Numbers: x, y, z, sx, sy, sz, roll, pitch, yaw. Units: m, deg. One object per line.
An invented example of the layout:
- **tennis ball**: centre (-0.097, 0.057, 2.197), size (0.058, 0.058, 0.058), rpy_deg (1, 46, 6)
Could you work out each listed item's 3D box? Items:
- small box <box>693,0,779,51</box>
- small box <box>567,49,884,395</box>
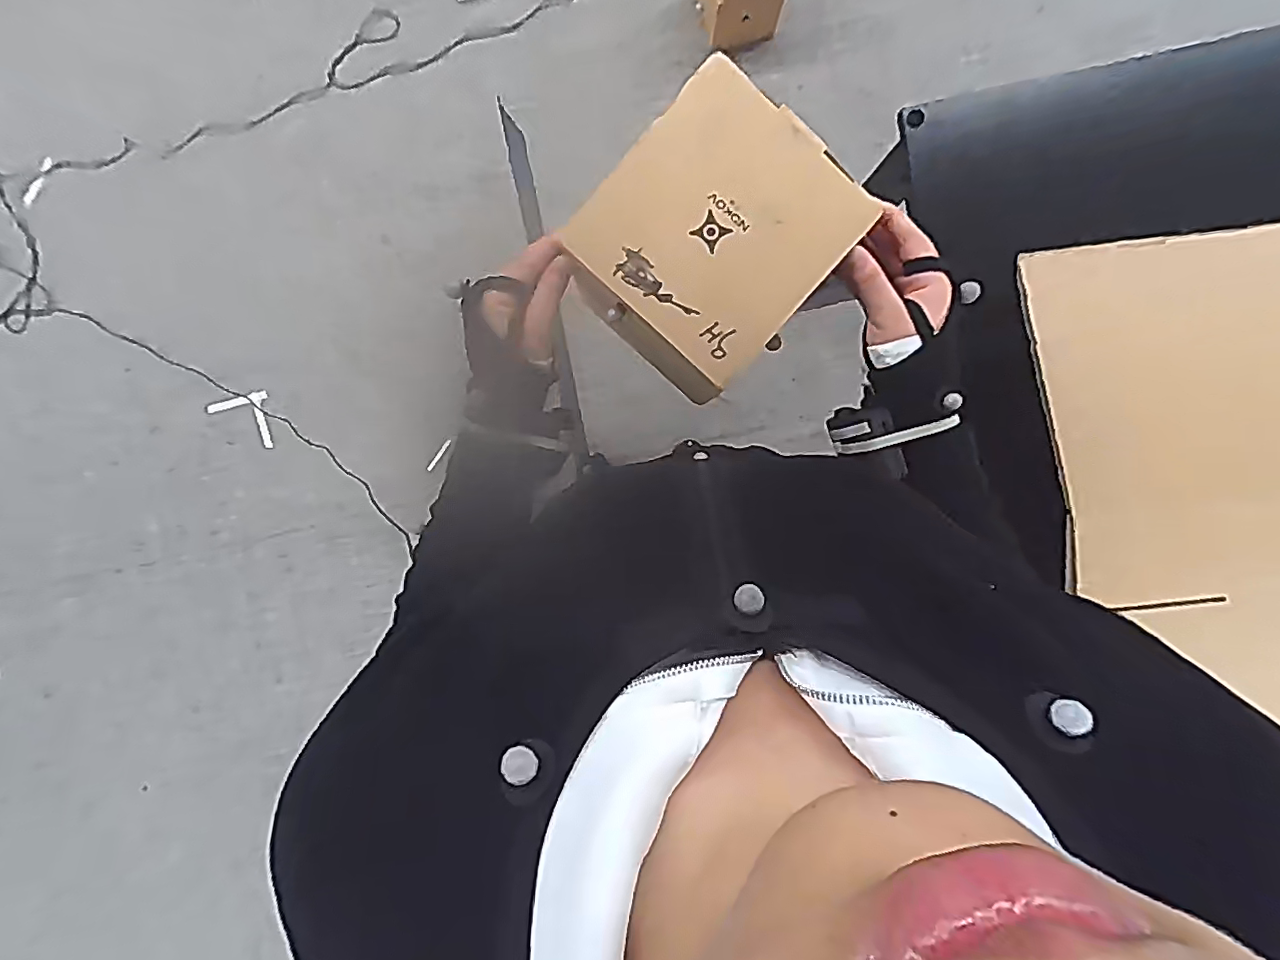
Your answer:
- **small box**: centre (0.235, -1.209, 1.324), size (0.179, 0.176, 0.168), rpy_deg (-16, 94, 3)
- **small box**: centre (0.061, -0.195, 0.469), size (0.168, 0.176, 0.179), rpy_deg (42, 92, -1)
